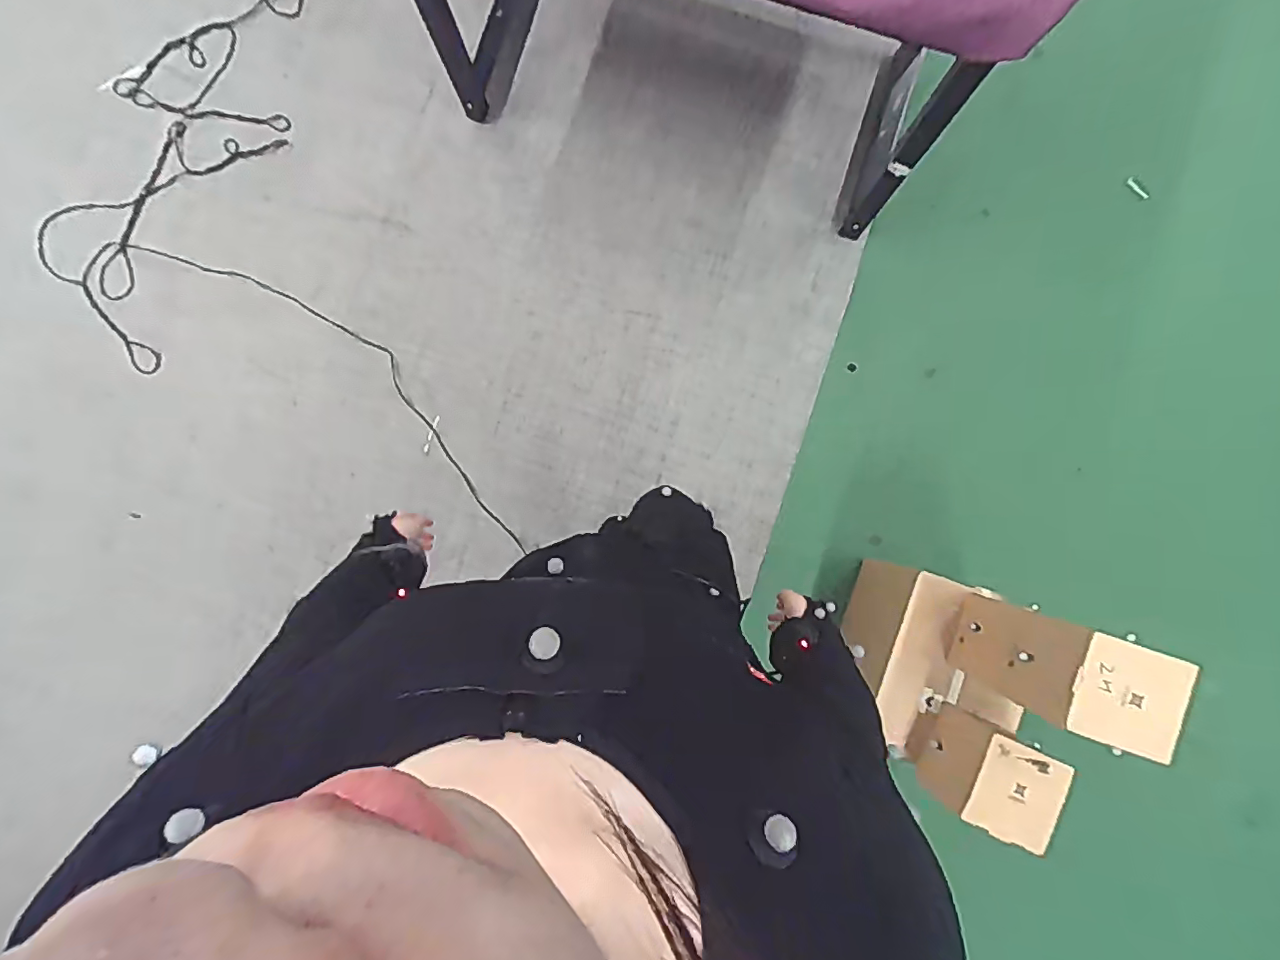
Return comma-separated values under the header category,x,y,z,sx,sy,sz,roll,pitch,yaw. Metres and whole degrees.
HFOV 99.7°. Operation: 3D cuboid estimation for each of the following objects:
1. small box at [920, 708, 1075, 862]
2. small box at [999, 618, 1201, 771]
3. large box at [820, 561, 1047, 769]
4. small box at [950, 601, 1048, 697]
category,x,y,z,sx,sy,sz,roll,pitch,yaw
small box,0.691,0.591,1.071,0.168,0.176,0.179,25,87,1
small box,0.767,0.350,0.920,0.179,0.176,0.168,19,88,1
large box,0.689,0.449,1.323,0.320,0.320,0.408,20,88,2
small box,0.771,0.356,1.084,0.179,0.176,0.168,20,88,1
